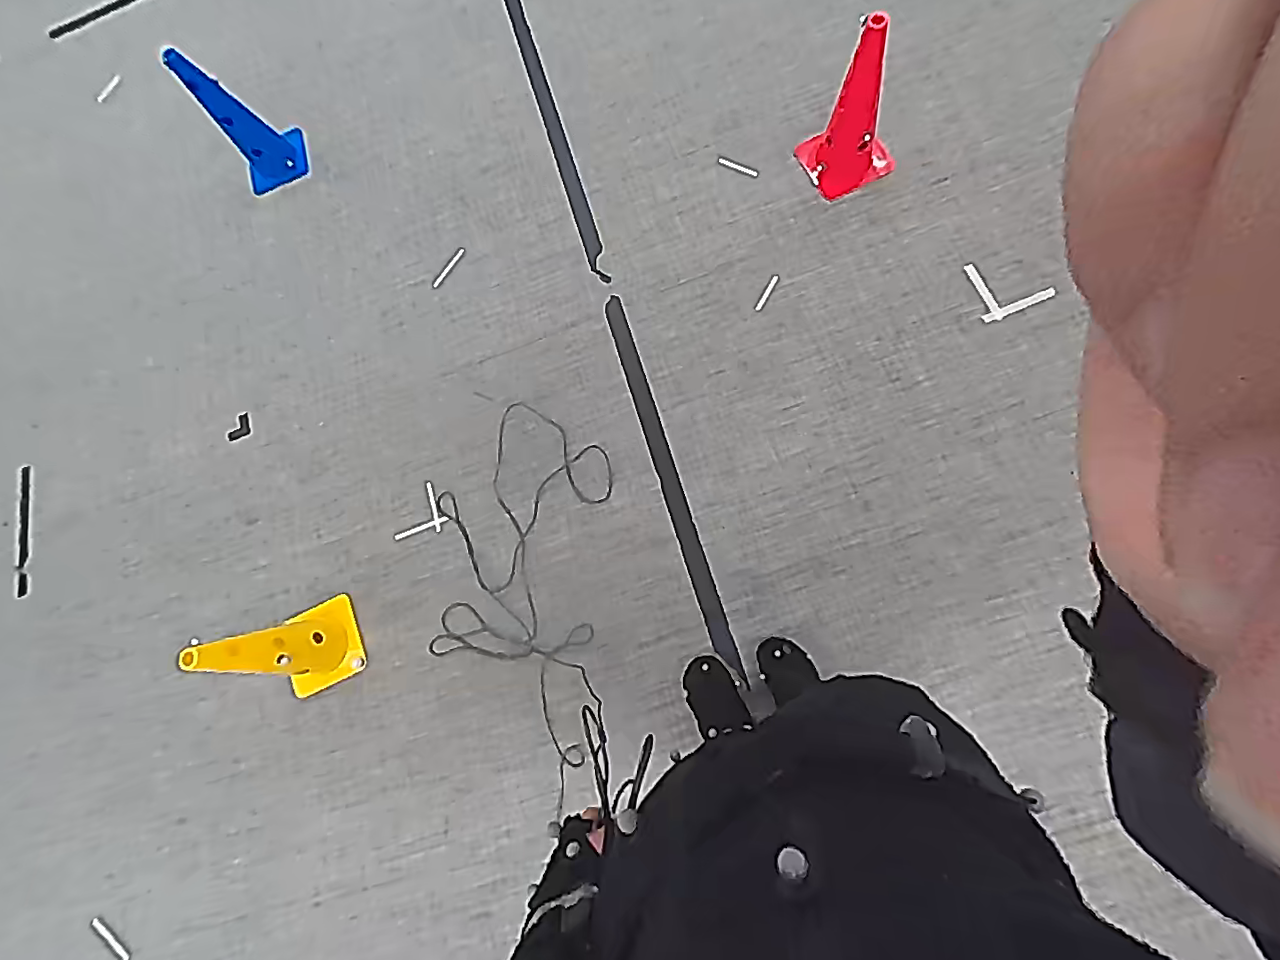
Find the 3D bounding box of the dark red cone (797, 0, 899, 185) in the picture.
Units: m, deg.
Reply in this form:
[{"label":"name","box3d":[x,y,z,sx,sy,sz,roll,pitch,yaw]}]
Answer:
[{"label":"dark red cone","box3d":[0.499,-0.898,1.226,0.201,0.394,0.202,-27,74,4]}]

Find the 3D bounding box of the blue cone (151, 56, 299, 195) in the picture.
[{"label":"blue cone","box3d":[-1.217,-1.055,1.585,0.192,0.380,0.193,-19,74,6]}]
